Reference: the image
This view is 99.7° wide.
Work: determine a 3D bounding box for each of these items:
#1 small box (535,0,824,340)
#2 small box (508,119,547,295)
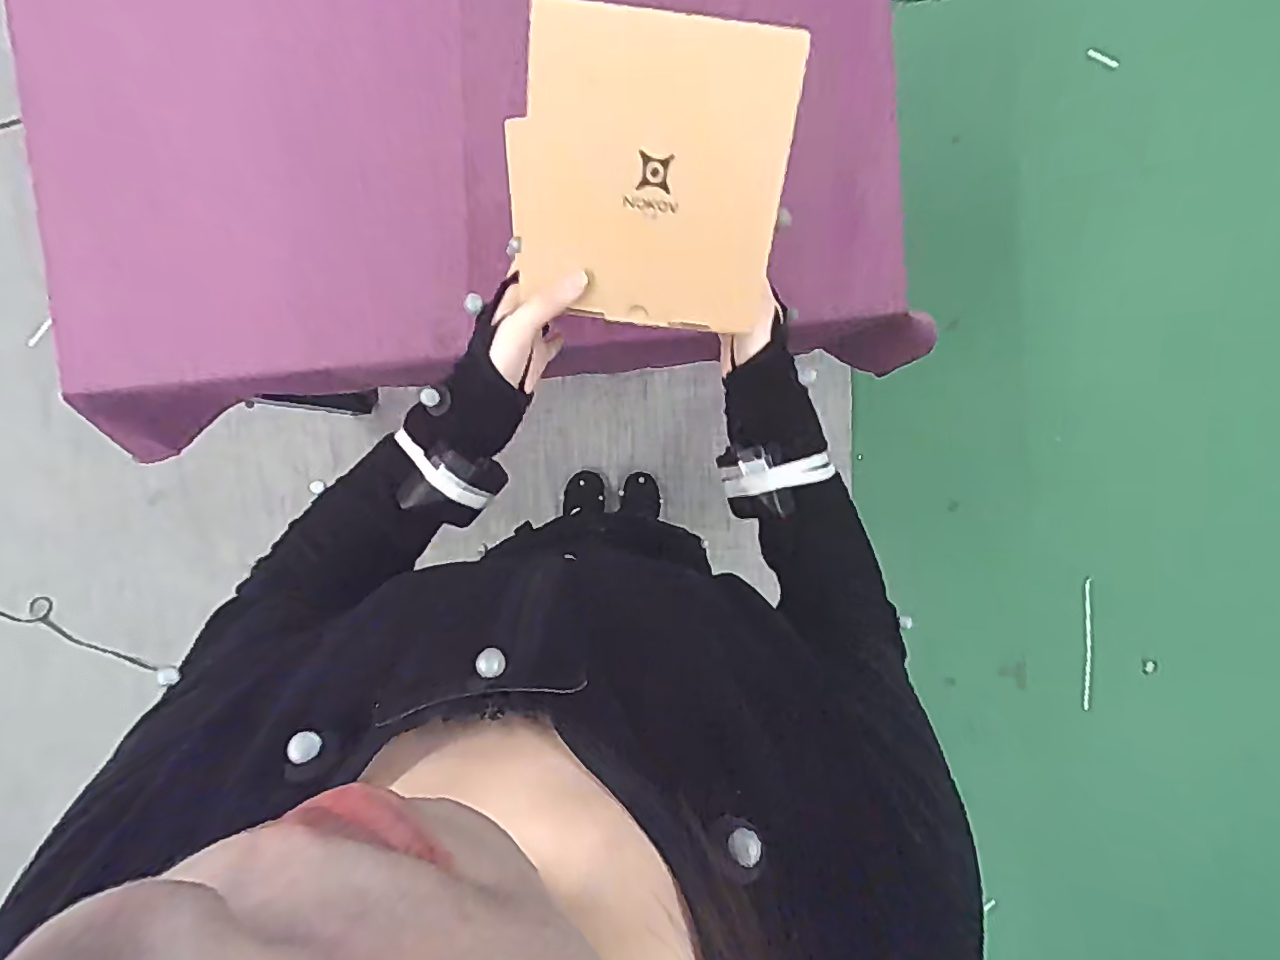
[{"bbox_3d":[0.019,-0.217,0.419,0.168,0.176,0.179,7,113,-2],"label":"small box"},{"bbox_3d":[-0.058,-0.317,0.676,0.168,0.176,0.179,-4,93,0],"label":"small box"}]
